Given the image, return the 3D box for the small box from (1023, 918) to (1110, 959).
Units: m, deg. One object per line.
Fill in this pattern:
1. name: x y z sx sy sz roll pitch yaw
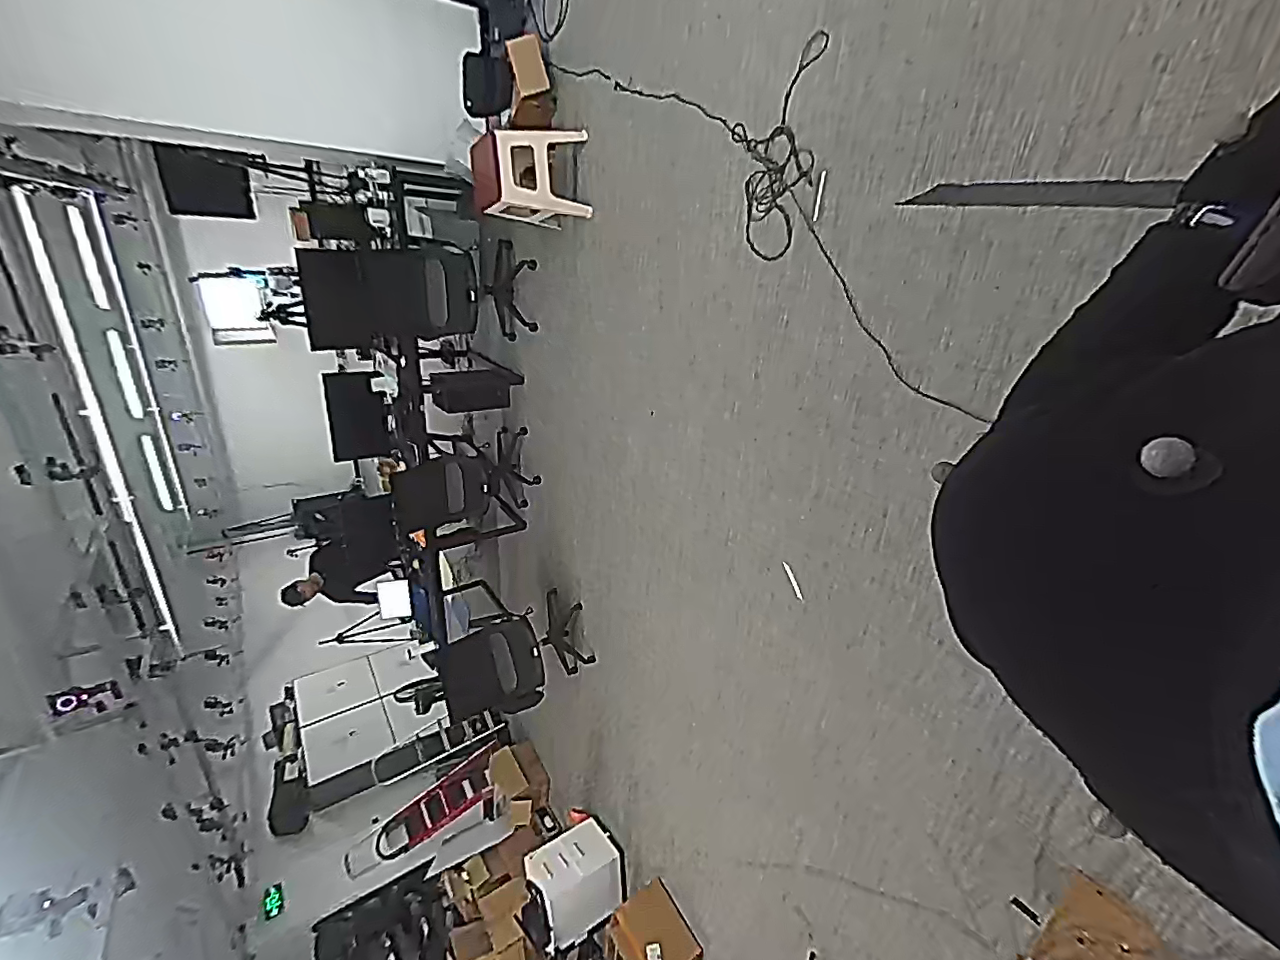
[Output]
1. small box: 1.006 1.186 1.262 0.168 0.176 0.179 38 132 45
